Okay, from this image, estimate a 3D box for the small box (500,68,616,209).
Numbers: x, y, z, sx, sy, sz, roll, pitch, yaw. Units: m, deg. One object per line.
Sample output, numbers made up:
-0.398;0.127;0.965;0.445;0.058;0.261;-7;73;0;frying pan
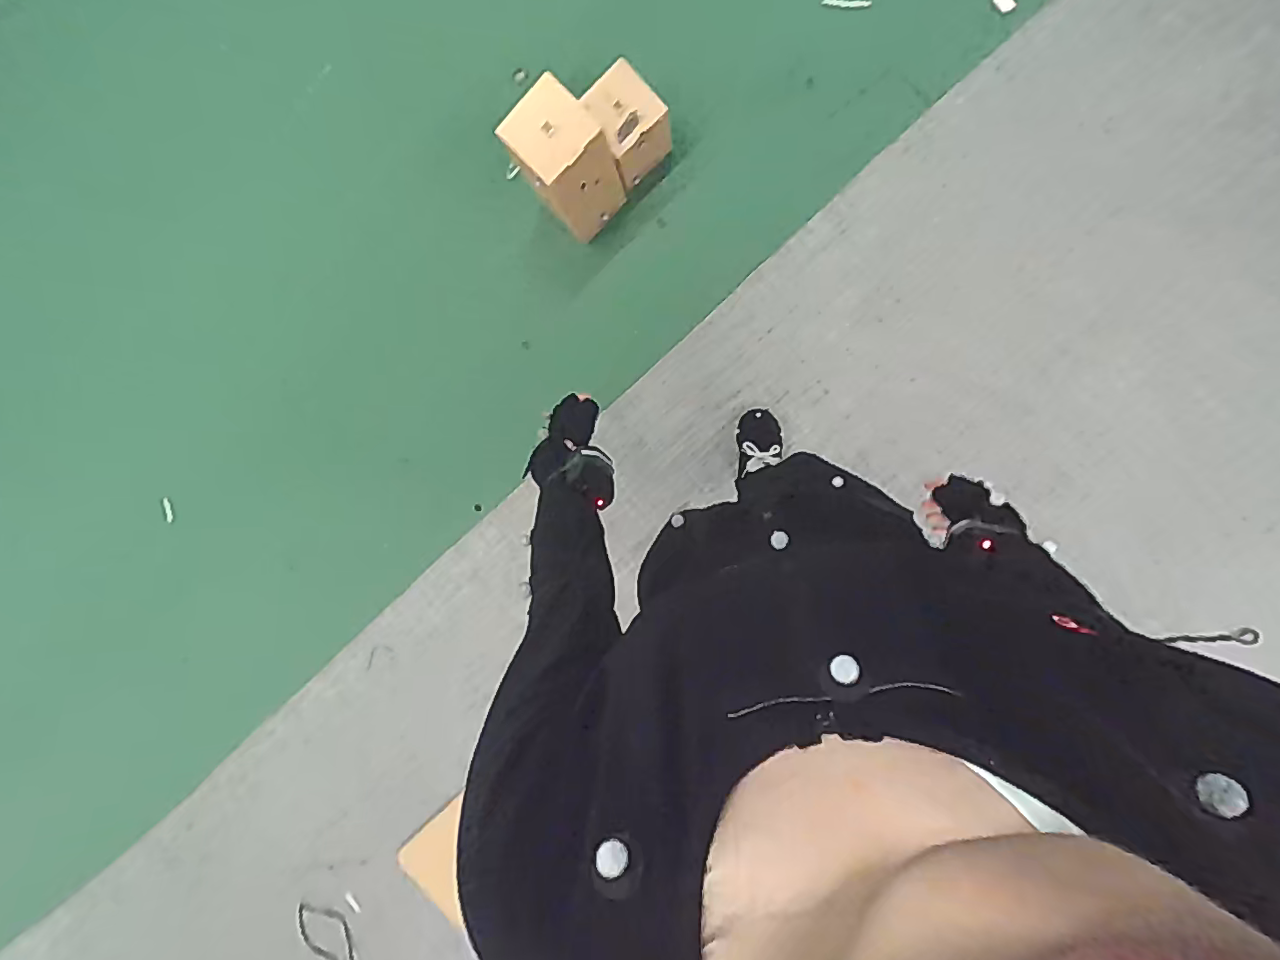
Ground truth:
-0.177;-0.757;1.222;0.168;0.176;0.179;-45;88;7;small box
